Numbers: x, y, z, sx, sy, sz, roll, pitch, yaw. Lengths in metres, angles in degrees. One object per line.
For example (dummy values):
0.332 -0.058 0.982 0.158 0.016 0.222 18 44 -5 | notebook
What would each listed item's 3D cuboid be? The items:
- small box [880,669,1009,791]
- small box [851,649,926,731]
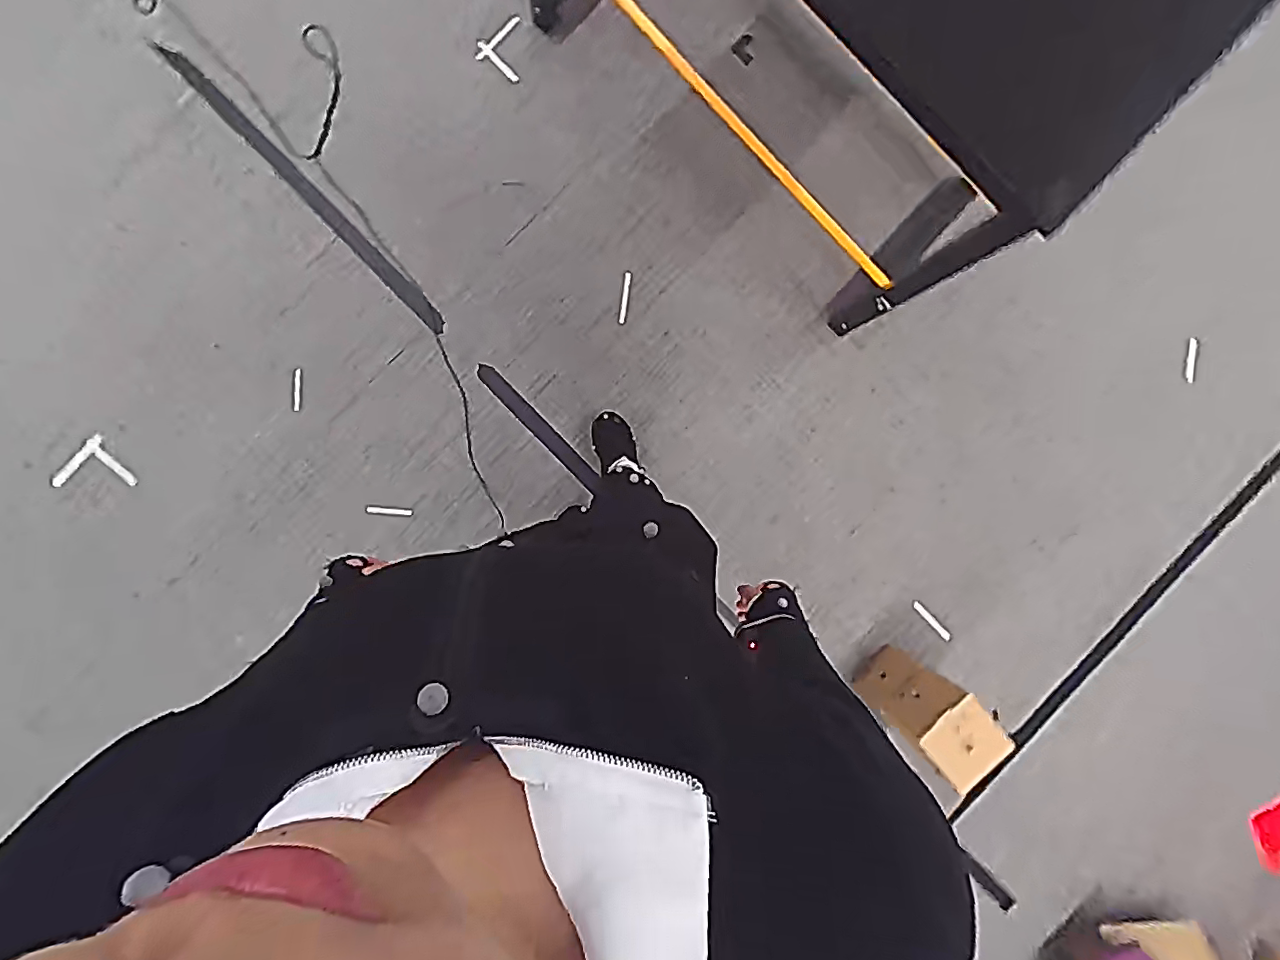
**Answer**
0.733 0.600 1.321 0.168 0.176 0.179 -40 94 -2 | small box
0.721 0.590 1.486 0.179 0.176 0.168 44 88 -4 | small box
